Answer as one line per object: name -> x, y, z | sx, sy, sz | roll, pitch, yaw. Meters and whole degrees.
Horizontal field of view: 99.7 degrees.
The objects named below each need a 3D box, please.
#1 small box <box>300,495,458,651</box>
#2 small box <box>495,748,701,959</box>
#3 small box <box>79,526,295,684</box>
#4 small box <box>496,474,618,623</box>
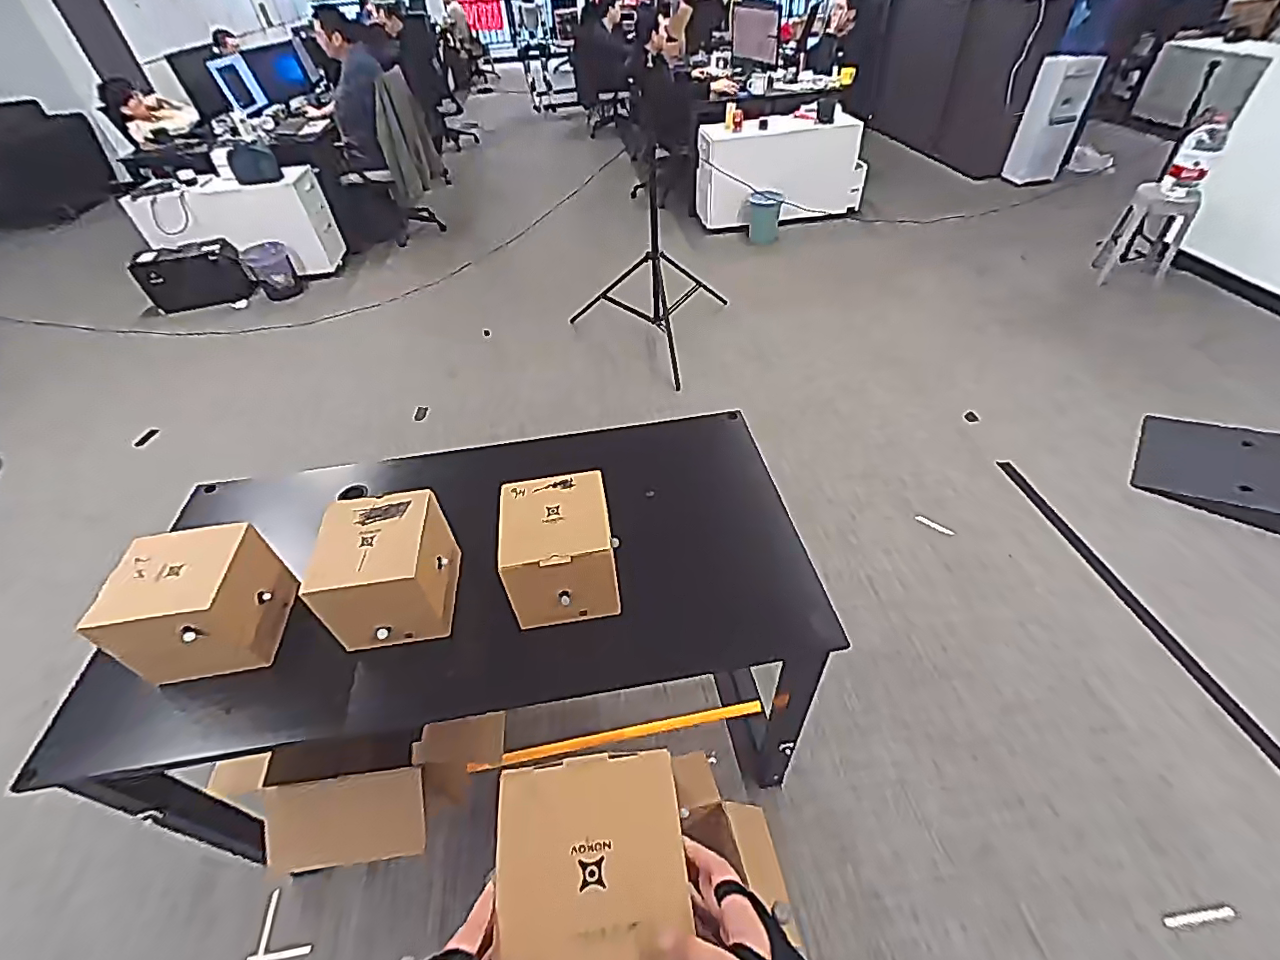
small box -> -0.405, 0.151, 0.878 | 0.168, 0.176, 0.179 | -8, 45, -3
small box -> -0.041, 0.389, 0.528 | 0.168, 0.176, 0.179 | -7, 49, -4
small box -> -0.685, 0.198, 0.851 | 0.179, 0.176, 0.168 | -9, 44, -5
small box -> -0.132, 0.118, 0.891 | 0.168, 0.176, 0.179 | -9, 45, -4
